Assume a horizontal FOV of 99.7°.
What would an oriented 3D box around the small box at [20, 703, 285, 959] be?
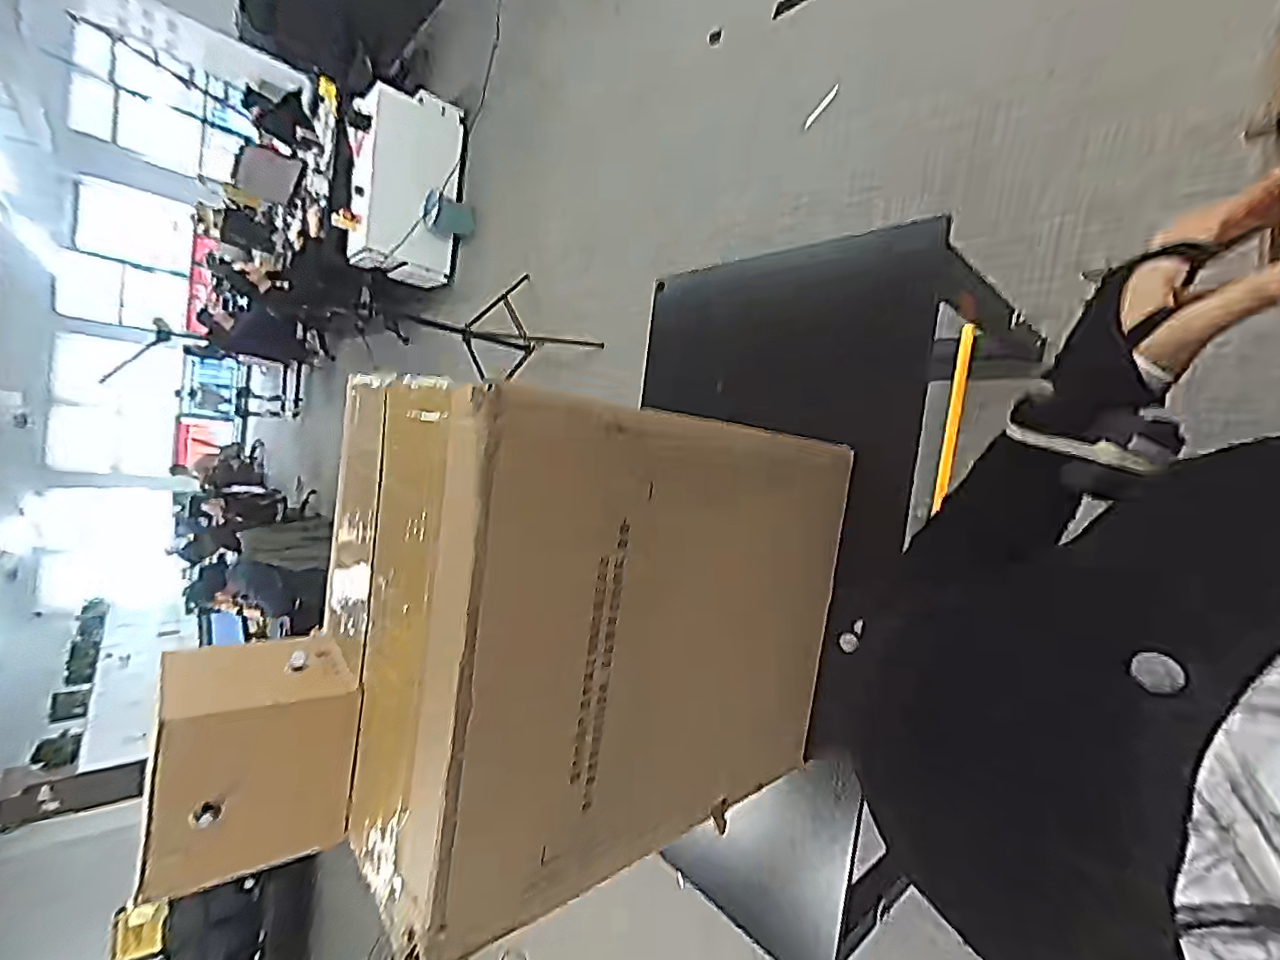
[{"bbox_3d":[-0.461,0.349,0.530,0.168,0.176,0.179,12,95,49],"label":"small box"}]
